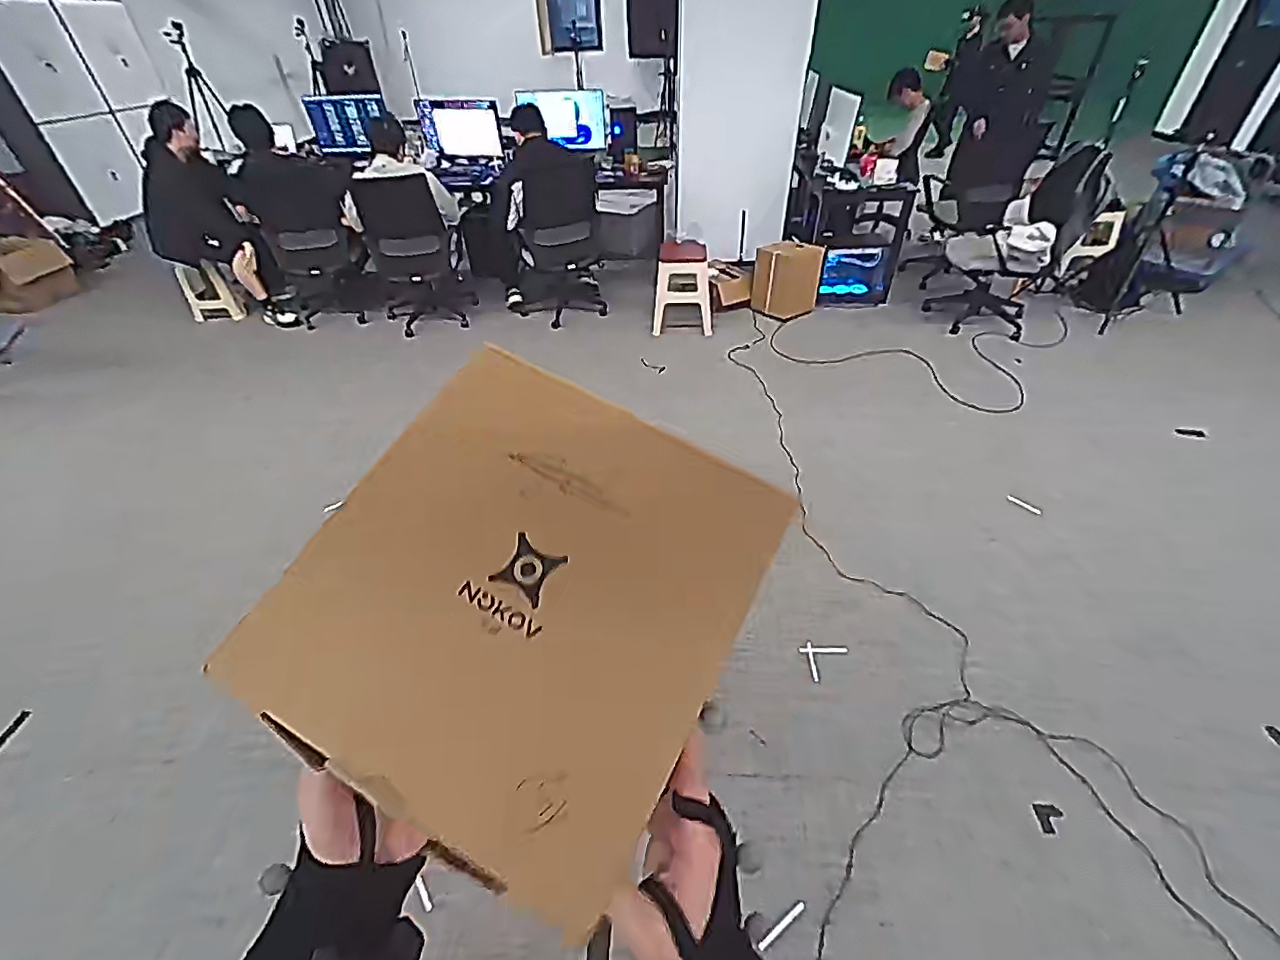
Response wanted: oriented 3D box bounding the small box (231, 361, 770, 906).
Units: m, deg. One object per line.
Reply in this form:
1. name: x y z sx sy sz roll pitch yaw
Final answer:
1. small box: -0.051 0.075 0.298 0.168 0.176 0.179 25 66 10
